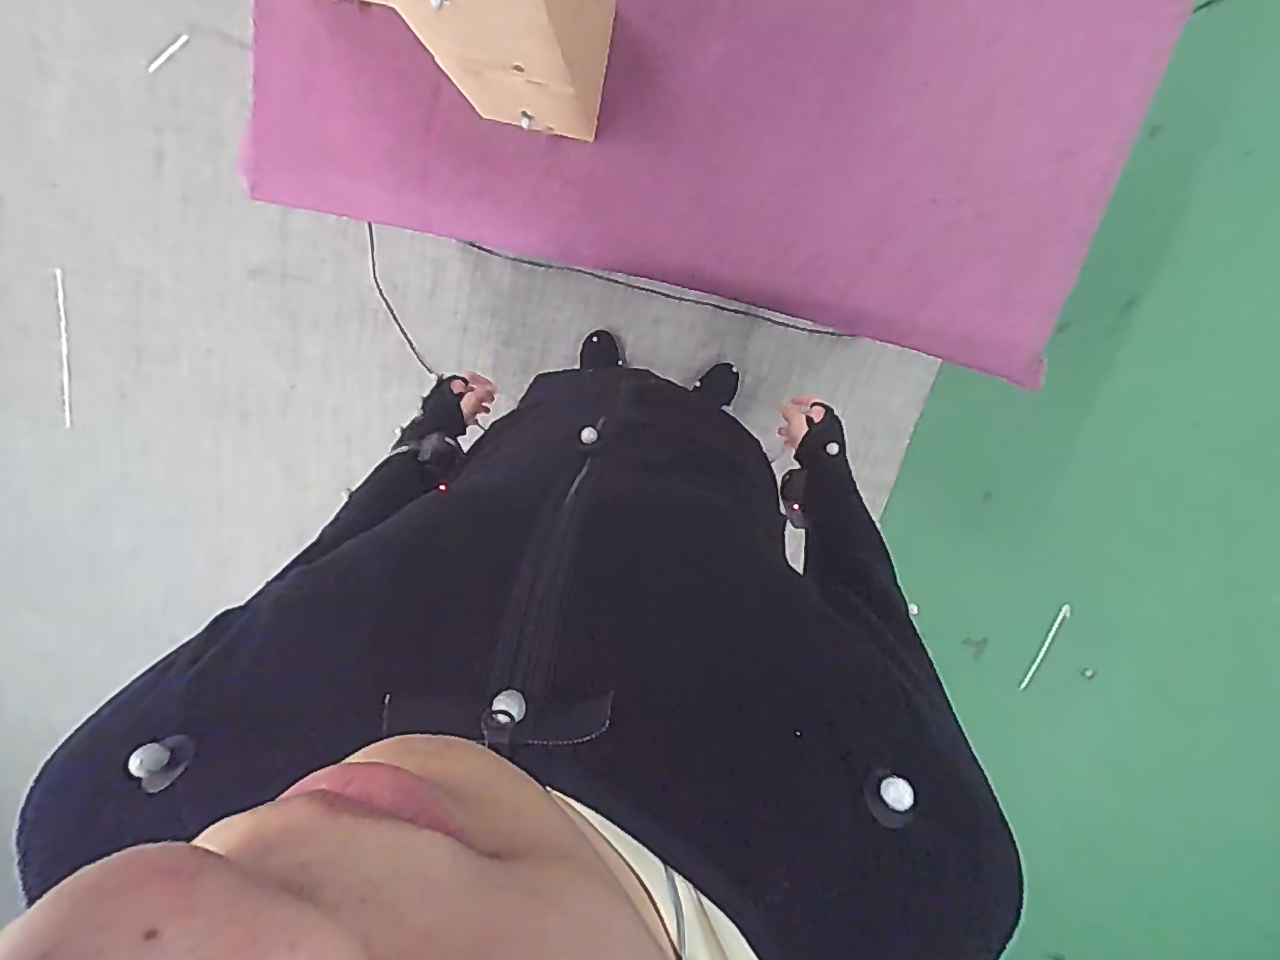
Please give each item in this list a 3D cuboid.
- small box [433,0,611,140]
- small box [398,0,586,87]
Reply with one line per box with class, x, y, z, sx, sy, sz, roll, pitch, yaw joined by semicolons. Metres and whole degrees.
small box;-0.134;-0.559;0.668;0.168;0.176;0.179;12;106;0
small box;-0.141;-0.519;0.508;0.168;0.176;0.179;12;104;0
